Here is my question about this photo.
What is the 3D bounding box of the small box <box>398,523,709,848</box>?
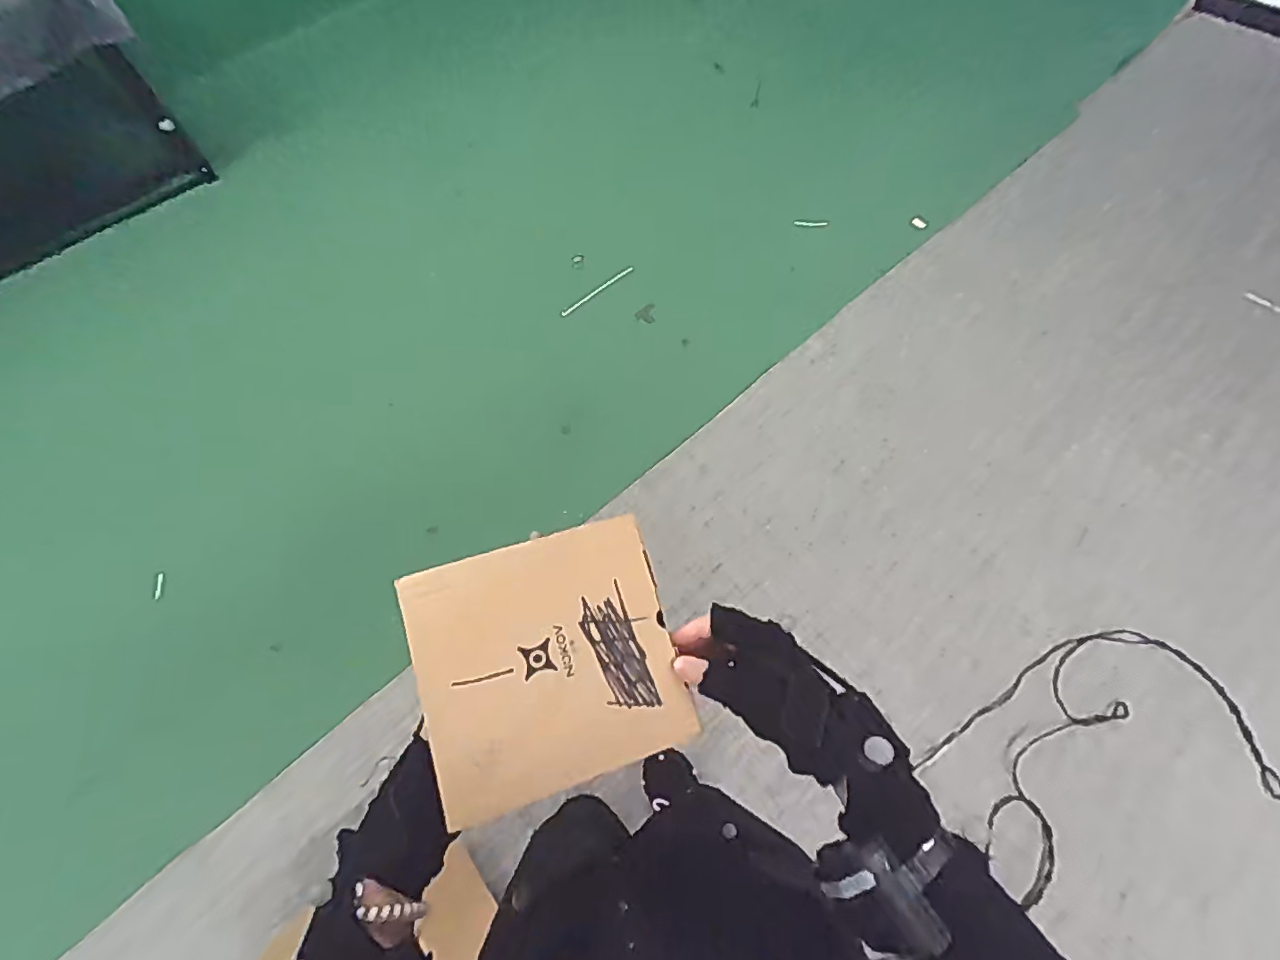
[{"bbox_3d":[-0.069,0.148,0.436,0.179,0.176,0.168,-15,76,-13],"label":"small box"}]
